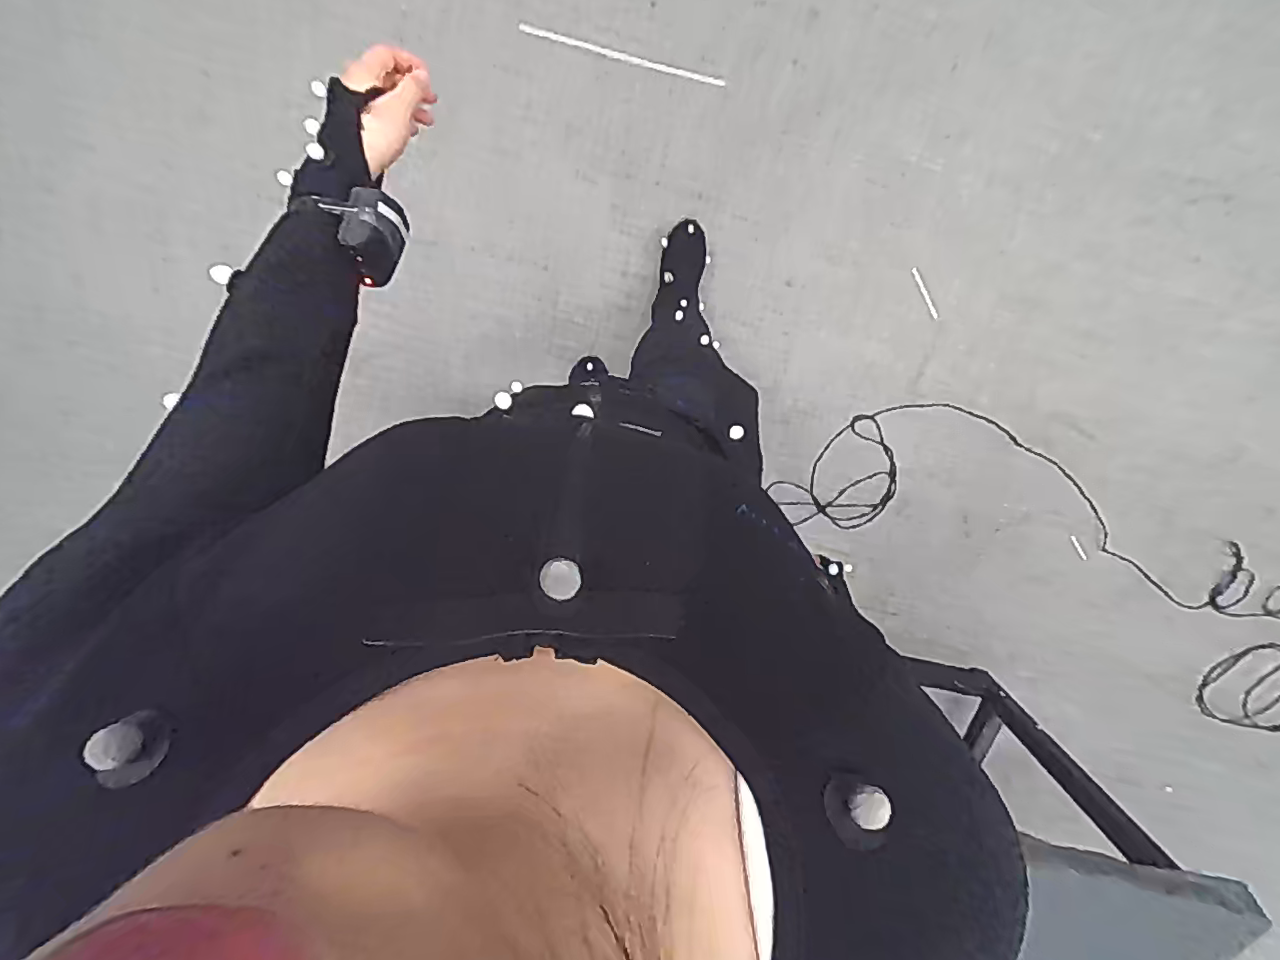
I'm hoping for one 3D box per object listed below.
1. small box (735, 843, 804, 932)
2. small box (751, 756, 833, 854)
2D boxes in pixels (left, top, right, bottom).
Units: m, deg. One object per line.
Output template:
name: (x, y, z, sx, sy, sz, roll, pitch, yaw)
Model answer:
small box: (0.426, 1.361, 1.815, 0.179, 0.176, 0.168, 8, 107, -2)
small box: (0.474, 1.028, 1.720, 0.168, 0.176, 0.179, 33, 102, -10)
